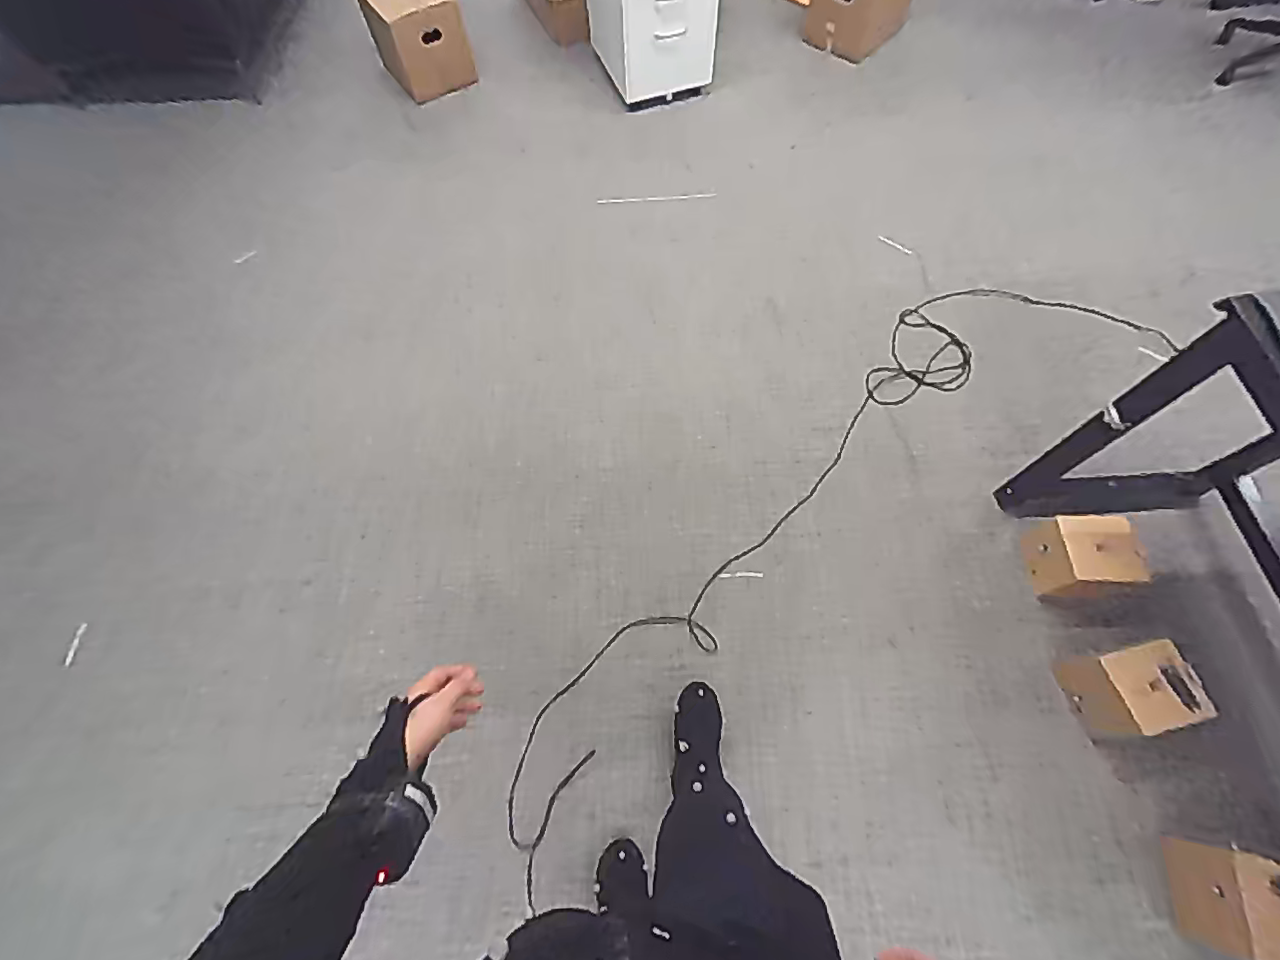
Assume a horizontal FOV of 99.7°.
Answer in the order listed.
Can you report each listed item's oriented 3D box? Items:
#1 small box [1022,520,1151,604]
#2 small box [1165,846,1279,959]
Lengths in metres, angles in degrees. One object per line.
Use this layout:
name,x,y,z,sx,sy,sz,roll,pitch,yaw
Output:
small box,1.108,0.211,1.366,0.179,0.176,0.168,1,63,2
small box,1.181,0.837,1.048,0.168,0.176,0.179,9,66,6
